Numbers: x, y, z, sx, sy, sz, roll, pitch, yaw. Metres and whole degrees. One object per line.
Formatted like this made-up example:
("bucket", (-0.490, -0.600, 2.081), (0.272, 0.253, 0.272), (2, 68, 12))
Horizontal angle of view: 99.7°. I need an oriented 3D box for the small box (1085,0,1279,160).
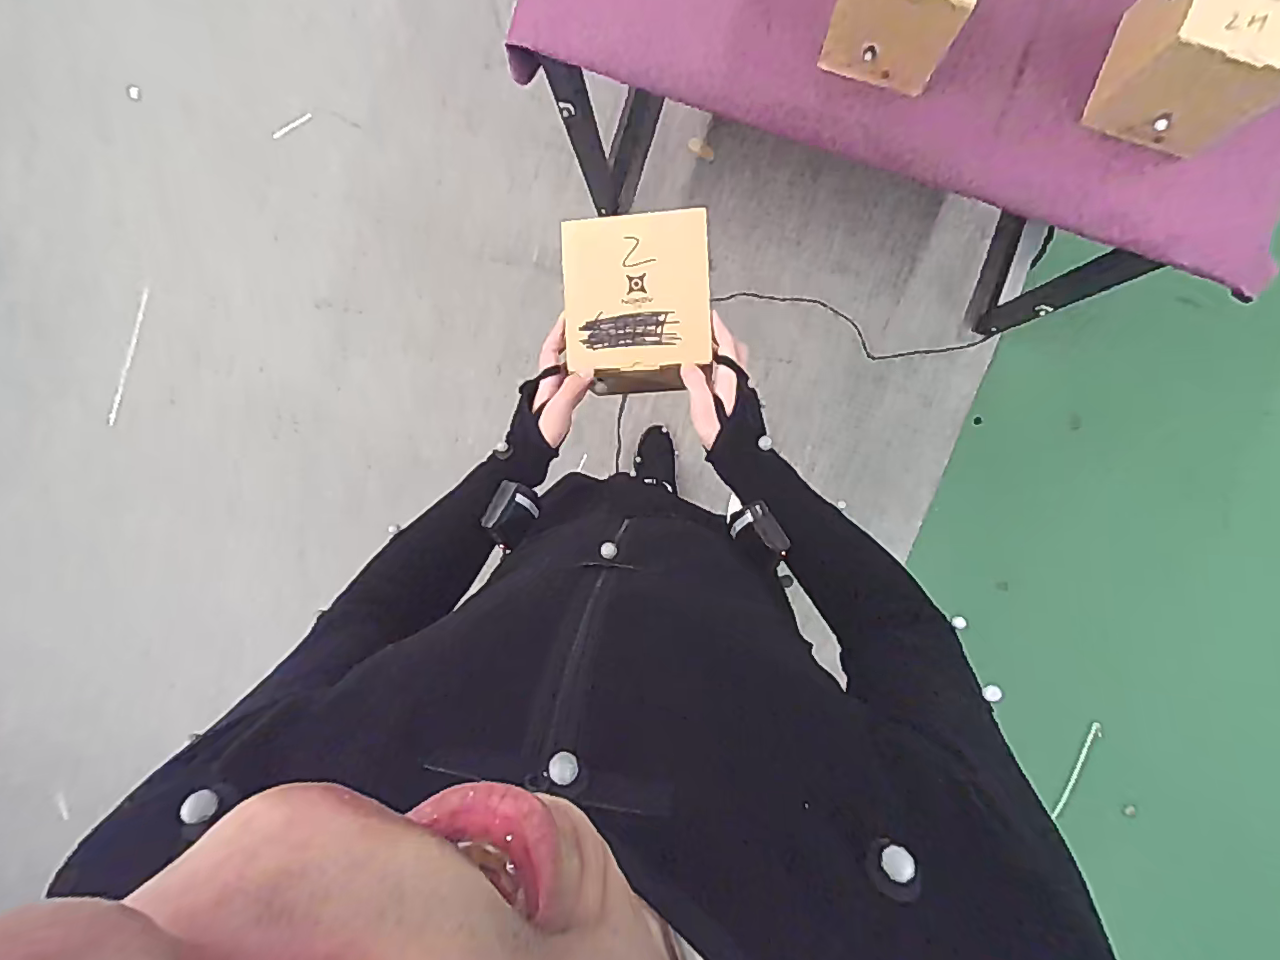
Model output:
("small box", (0.755, -0.578, 0.722), (0.168, 0.176, 0.179), (22, 93, 5))
